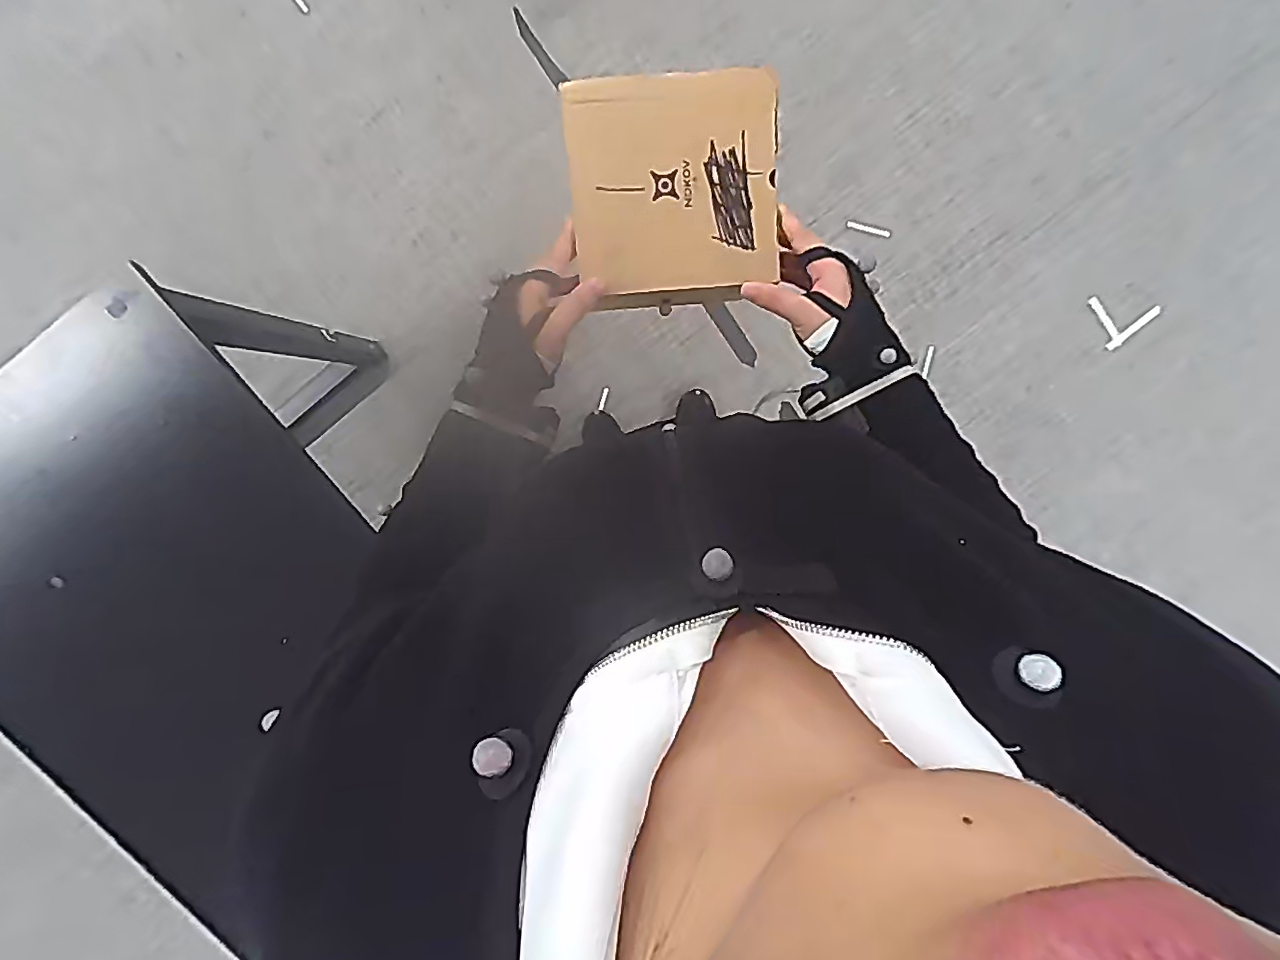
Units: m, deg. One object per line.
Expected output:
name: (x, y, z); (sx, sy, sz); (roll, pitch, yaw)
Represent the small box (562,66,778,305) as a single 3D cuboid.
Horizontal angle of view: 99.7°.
small box: (0.025, -0.266, 0.527); (0.179, 0.176, 0.168); (-4, 103, -1)
